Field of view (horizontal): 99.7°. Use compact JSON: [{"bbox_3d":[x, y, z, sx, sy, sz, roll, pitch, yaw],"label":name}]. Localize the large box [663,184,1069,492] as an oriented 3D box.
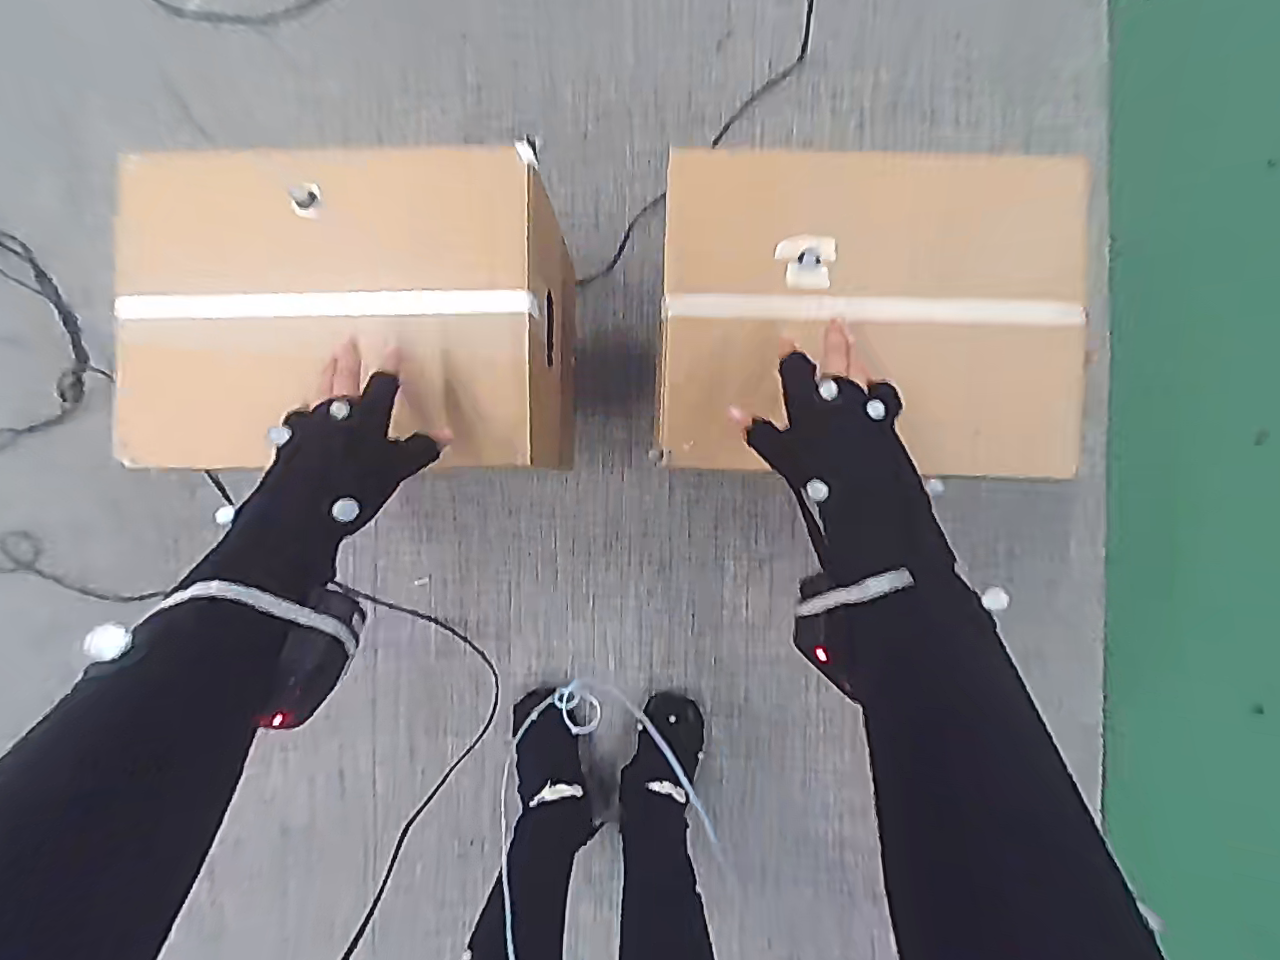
[{"bbox_3d":[0.238,-0.150,0.703,0.408,0.320,0.320,2,90,1],"label":"large box"}]
